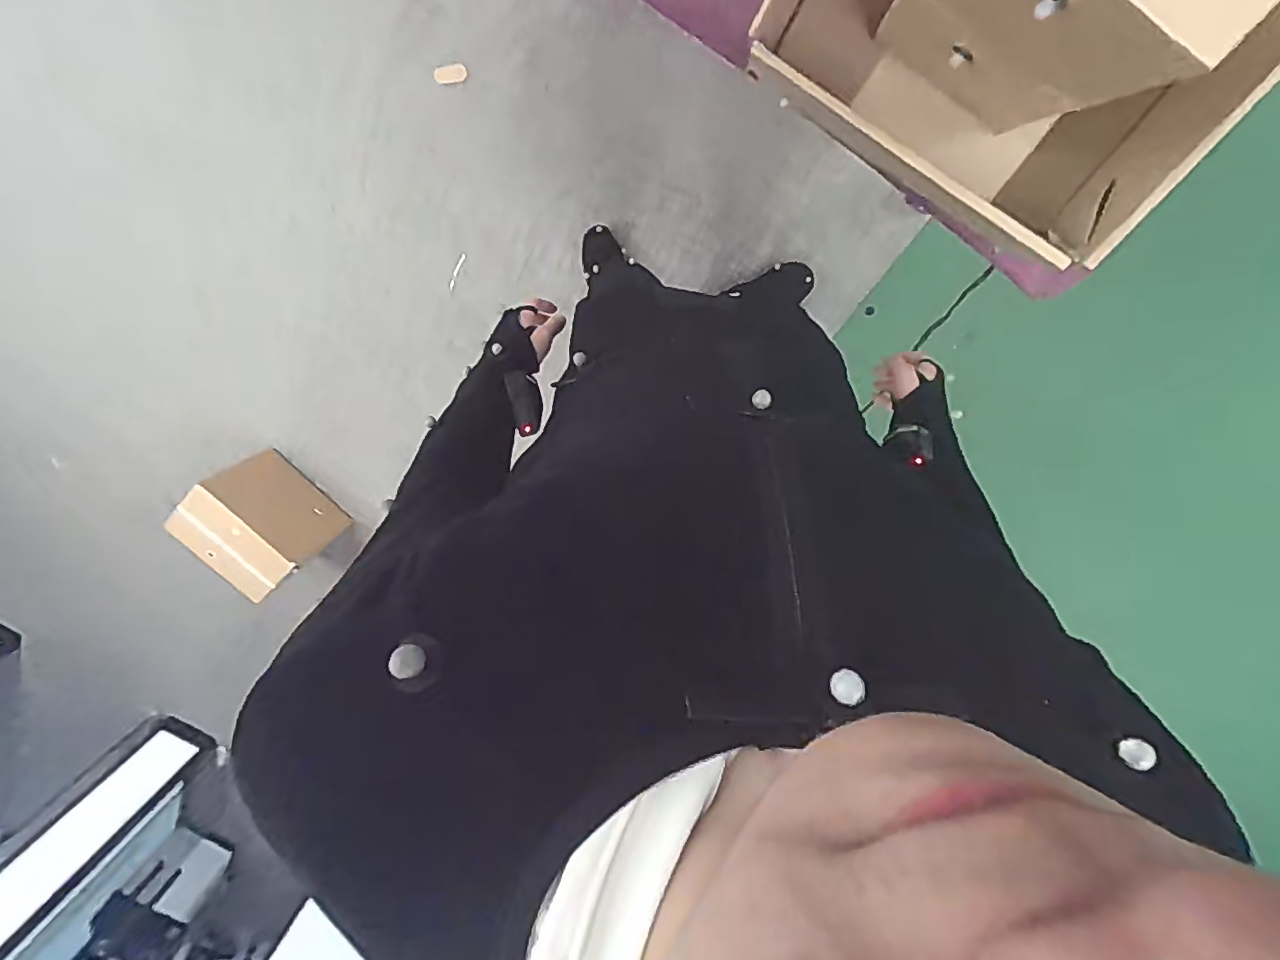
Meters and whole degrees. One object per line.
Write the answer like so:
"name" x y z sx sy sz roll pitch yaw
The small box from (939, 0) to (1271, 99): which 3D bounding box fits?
"small box" 0.314 -0.376 0.336 0.179 0.176 0.168 35 119 -6
